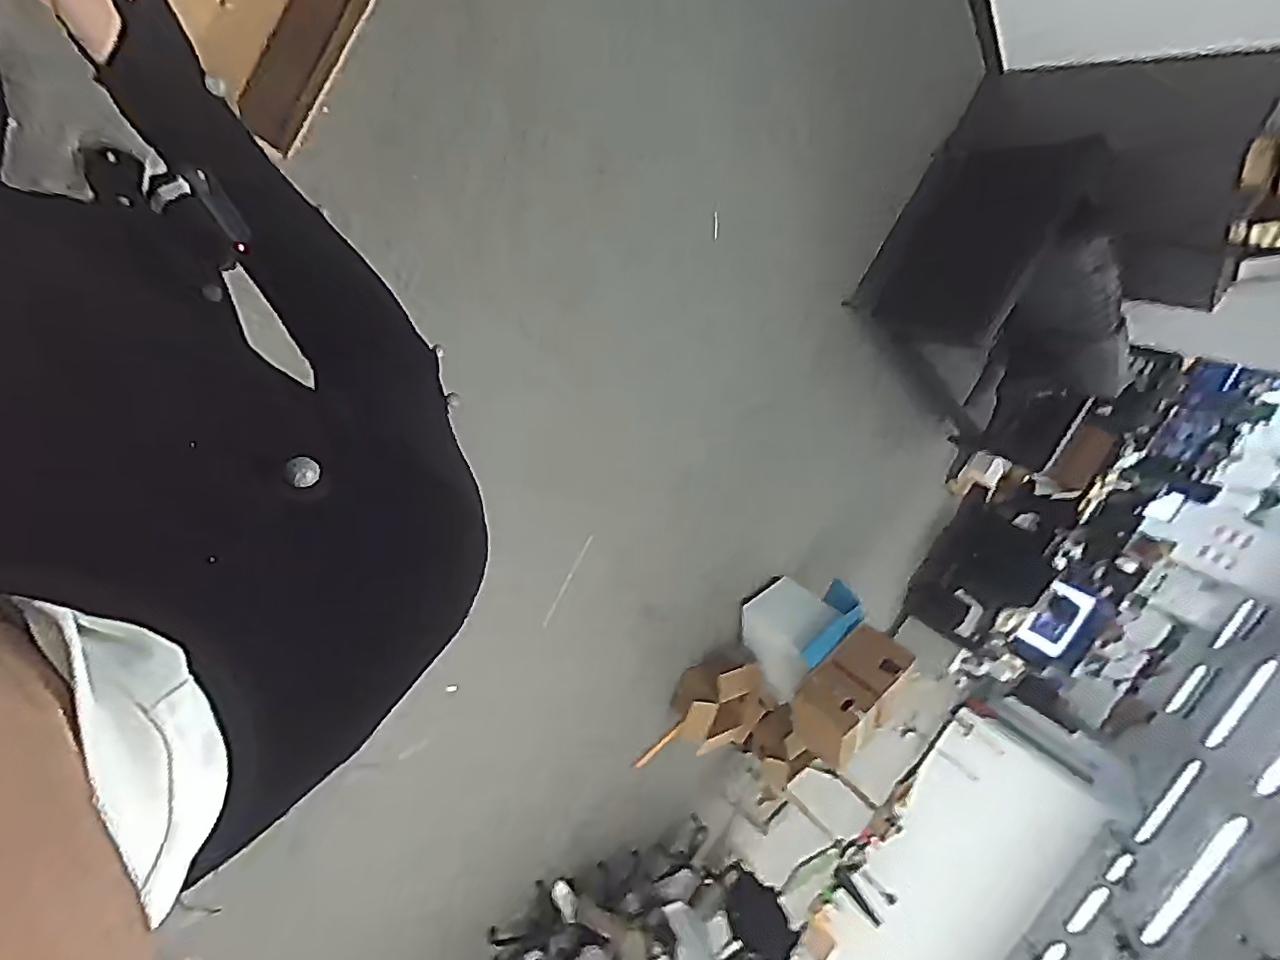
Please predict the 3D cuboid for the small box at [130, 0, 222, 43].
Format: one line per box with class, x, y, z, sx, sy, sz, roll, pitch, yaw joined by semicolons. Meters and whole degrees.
small box;-0.607;-0.692;0.669;0.168;0.176;0.179;28;95;-47
